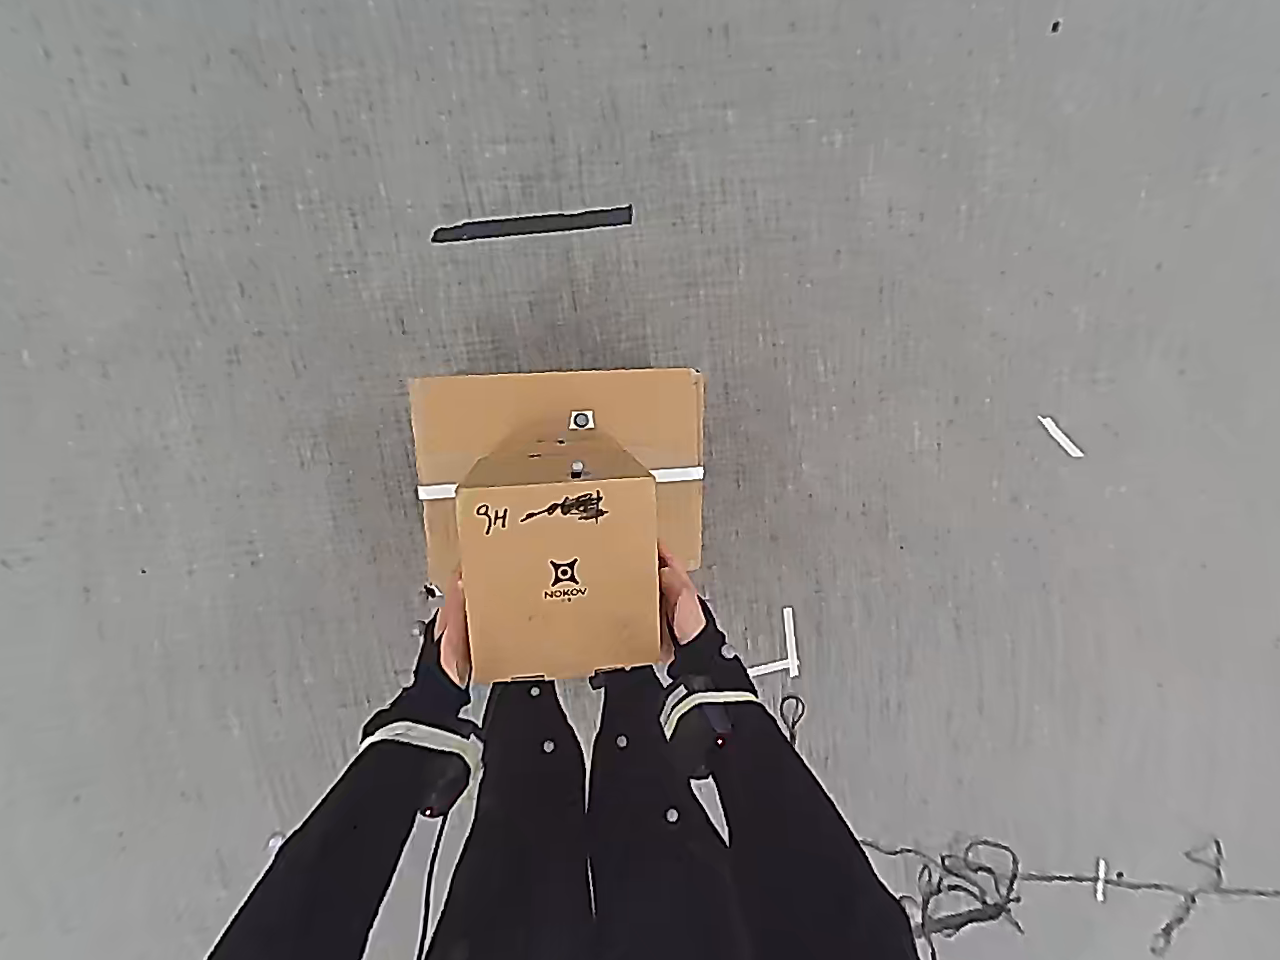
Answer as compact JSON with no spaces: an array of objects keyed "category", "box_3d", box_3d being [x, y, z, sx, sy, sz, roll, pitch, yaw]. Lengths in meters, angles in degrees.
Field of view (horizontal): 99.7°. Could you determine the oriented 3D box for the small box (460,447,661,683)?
[{"category":"small box","box_3d":[-0.076,0.069,0.536,0.168,0.176,0.179,-4,103,-11]}]
